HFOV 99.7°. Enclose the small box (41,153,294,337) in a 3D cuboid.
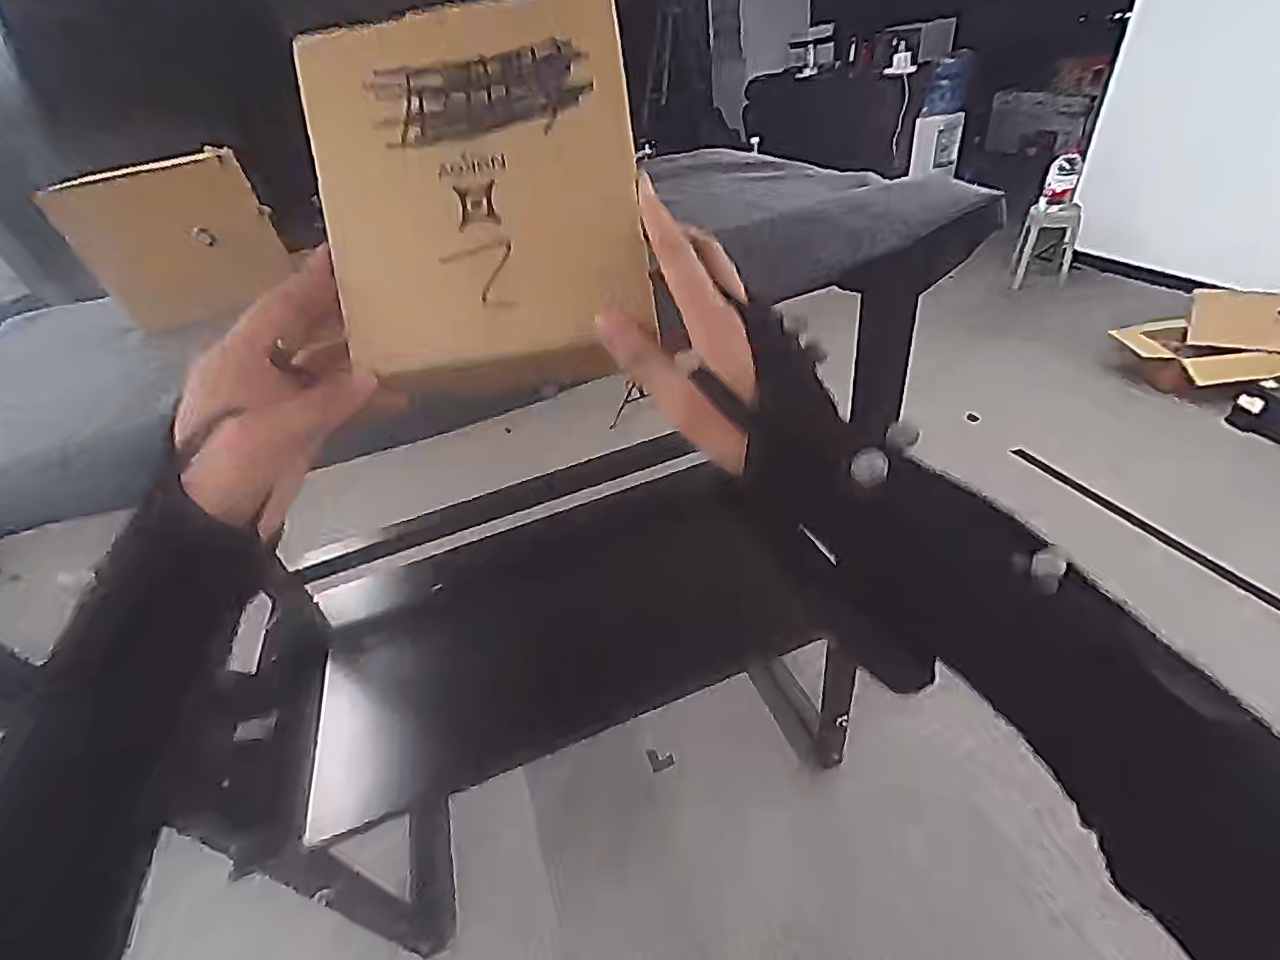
[{"bbox_3d":[-0.592,-0.313,0.714,0.179,0.176,0.168,-21,40,-13],"label":"small box"}]
